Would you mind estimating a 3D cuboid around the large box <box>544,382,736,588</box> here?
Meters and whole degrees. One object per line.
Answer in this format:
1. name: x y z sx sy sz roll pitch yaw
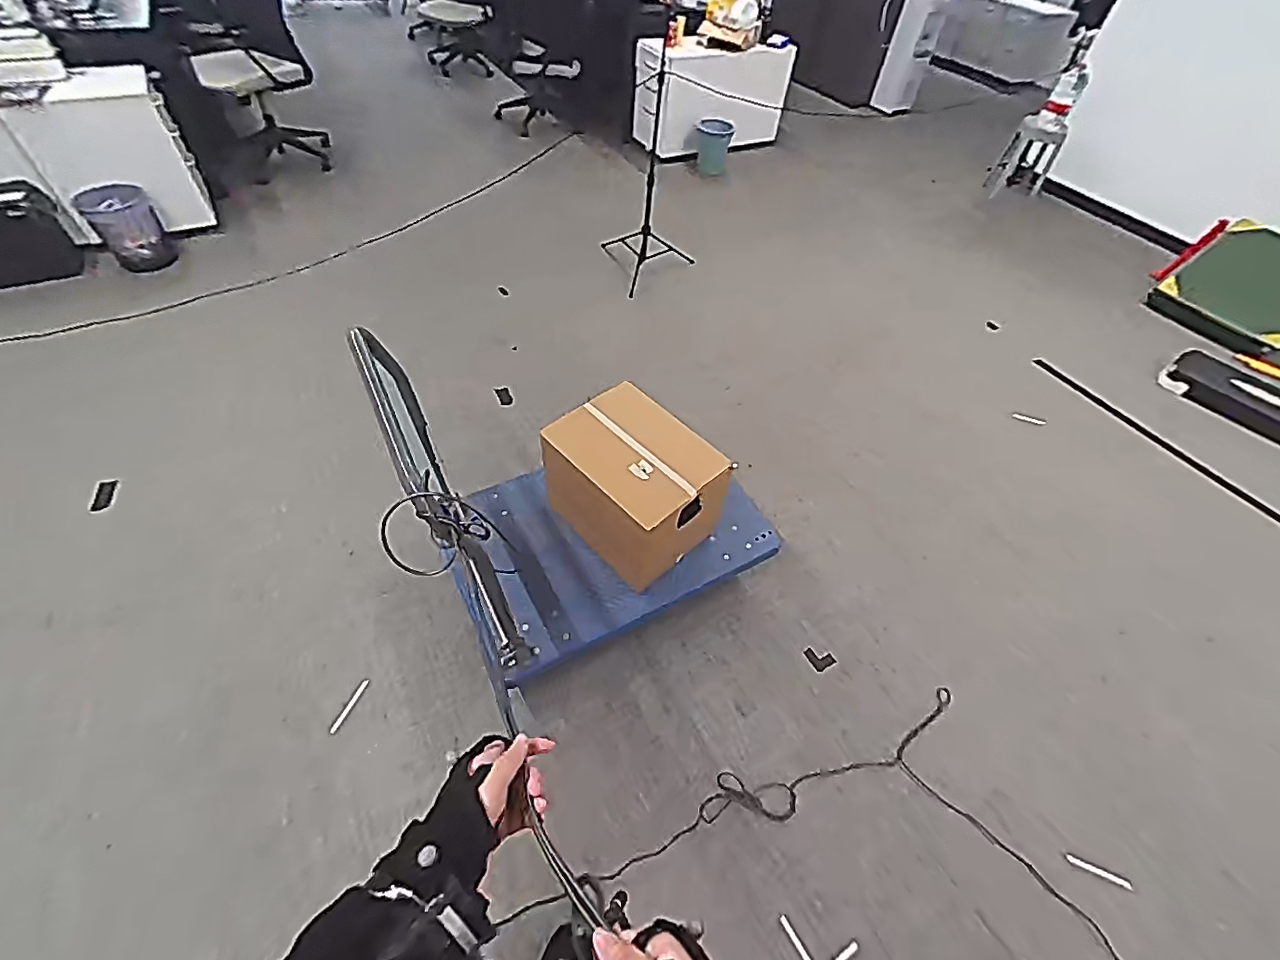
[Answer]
1. large box: -0.016 0.010 1.475 0.320 0.320 0.408 -36 64 -28
